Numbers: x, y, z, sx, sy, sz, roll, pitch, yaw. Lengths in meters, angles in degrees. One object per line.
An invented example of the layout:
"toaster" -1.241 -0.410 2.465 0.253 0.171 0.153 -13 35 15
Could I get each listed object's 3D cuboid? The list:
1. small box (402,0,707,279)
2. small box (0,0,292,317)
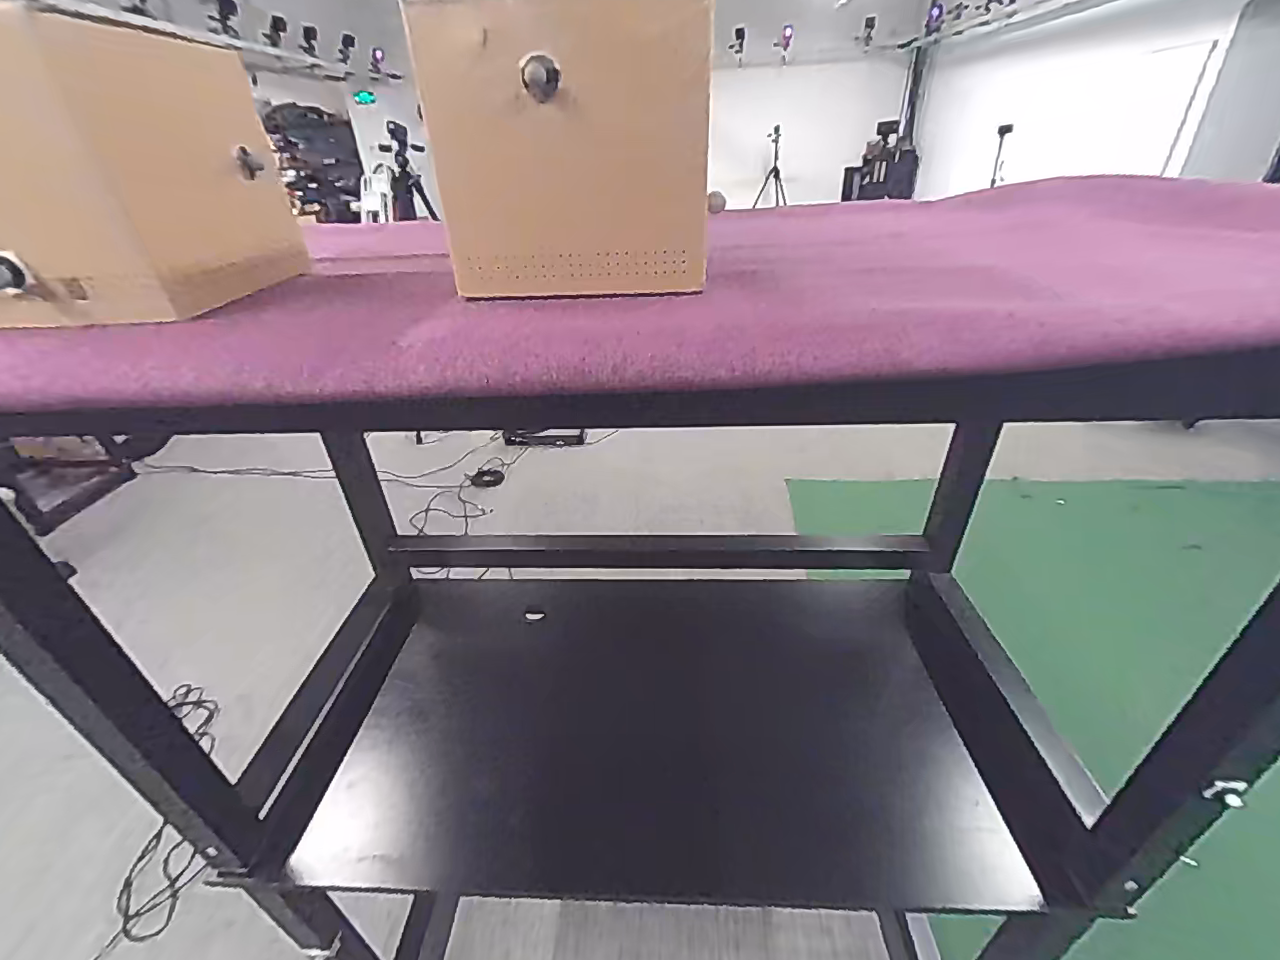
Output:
"small box" -0.042 -0.248 0.396 0.179 0.176 0.168 0 31 4
"small box" -0.392 -0.224 0.389 0.168 0.176 0.179 -3 33 1
